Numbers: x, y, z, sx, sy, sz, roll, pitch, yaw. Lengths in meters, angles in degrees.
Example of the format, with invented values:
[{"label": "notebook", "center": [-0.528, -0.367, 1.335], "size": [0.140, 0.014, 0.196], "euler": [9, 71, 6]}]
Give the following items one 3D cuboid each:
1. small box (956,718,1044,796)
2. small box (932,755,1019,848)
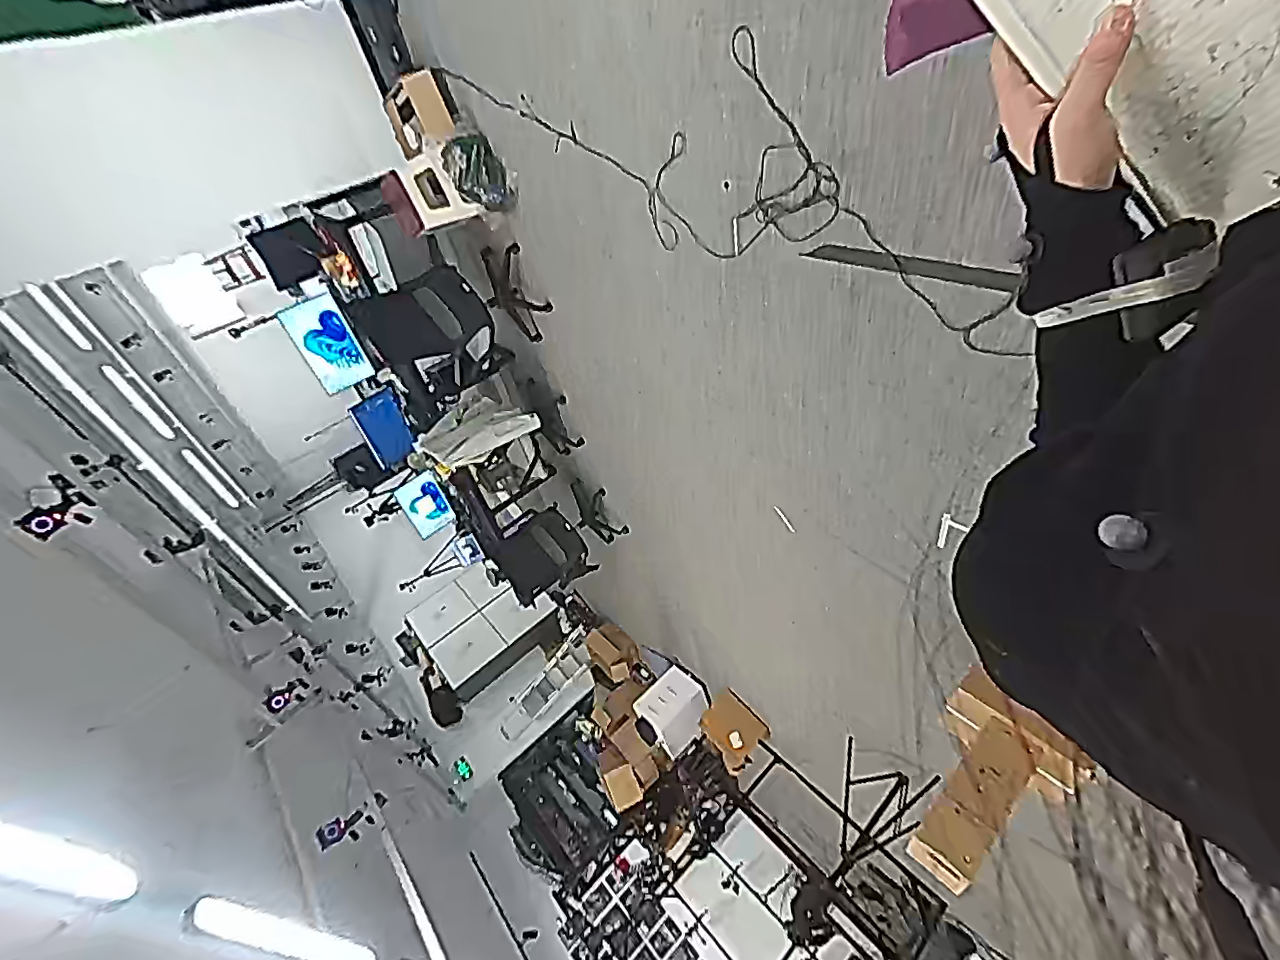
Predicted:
[{"label": "small box", "center": [1.194, 0.926, 1.791], "size": [0.168, 0.176, 0.179], "euler": [36, 151, 35]}, {"label": "small box", "center": [1.075, 1.022, 1.731], "size": [0.168, 0.176, 0.179], "euler": [34, 148, 38]}]
